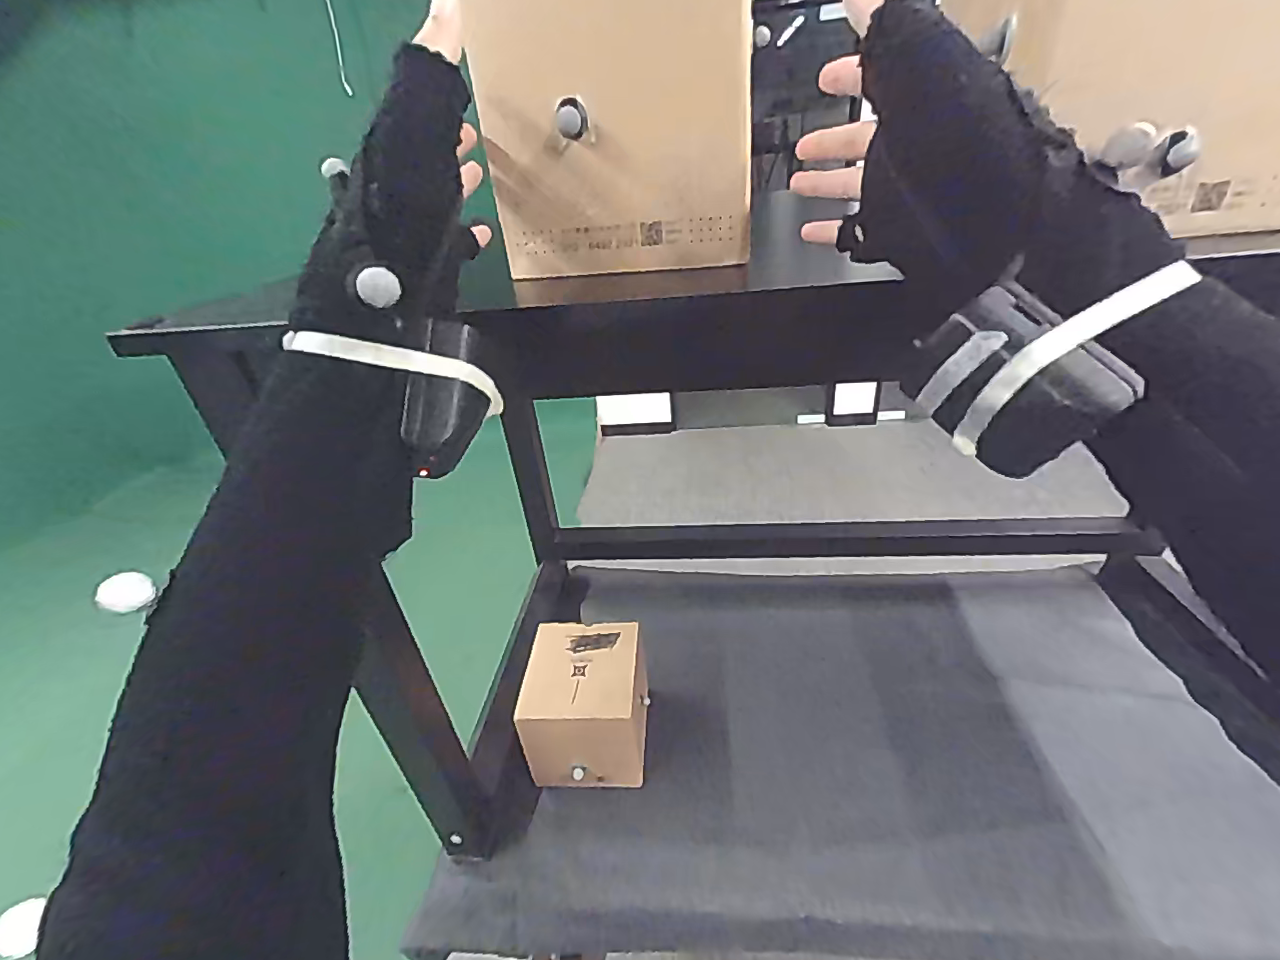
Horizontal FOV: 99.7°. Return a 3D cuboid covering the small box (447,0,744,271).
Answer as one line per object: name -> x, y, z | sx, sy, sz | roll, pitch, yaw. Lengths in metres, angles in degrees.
small box -> -0.009, -0.256, 0.401 | 0.168, 0.176, 0.179 | 0, 31, 11

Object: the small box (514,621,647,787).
small box -> -0.080, 0.342, 0.838 | 0.168, 0.176, 0.179 | -3, 31, 6
